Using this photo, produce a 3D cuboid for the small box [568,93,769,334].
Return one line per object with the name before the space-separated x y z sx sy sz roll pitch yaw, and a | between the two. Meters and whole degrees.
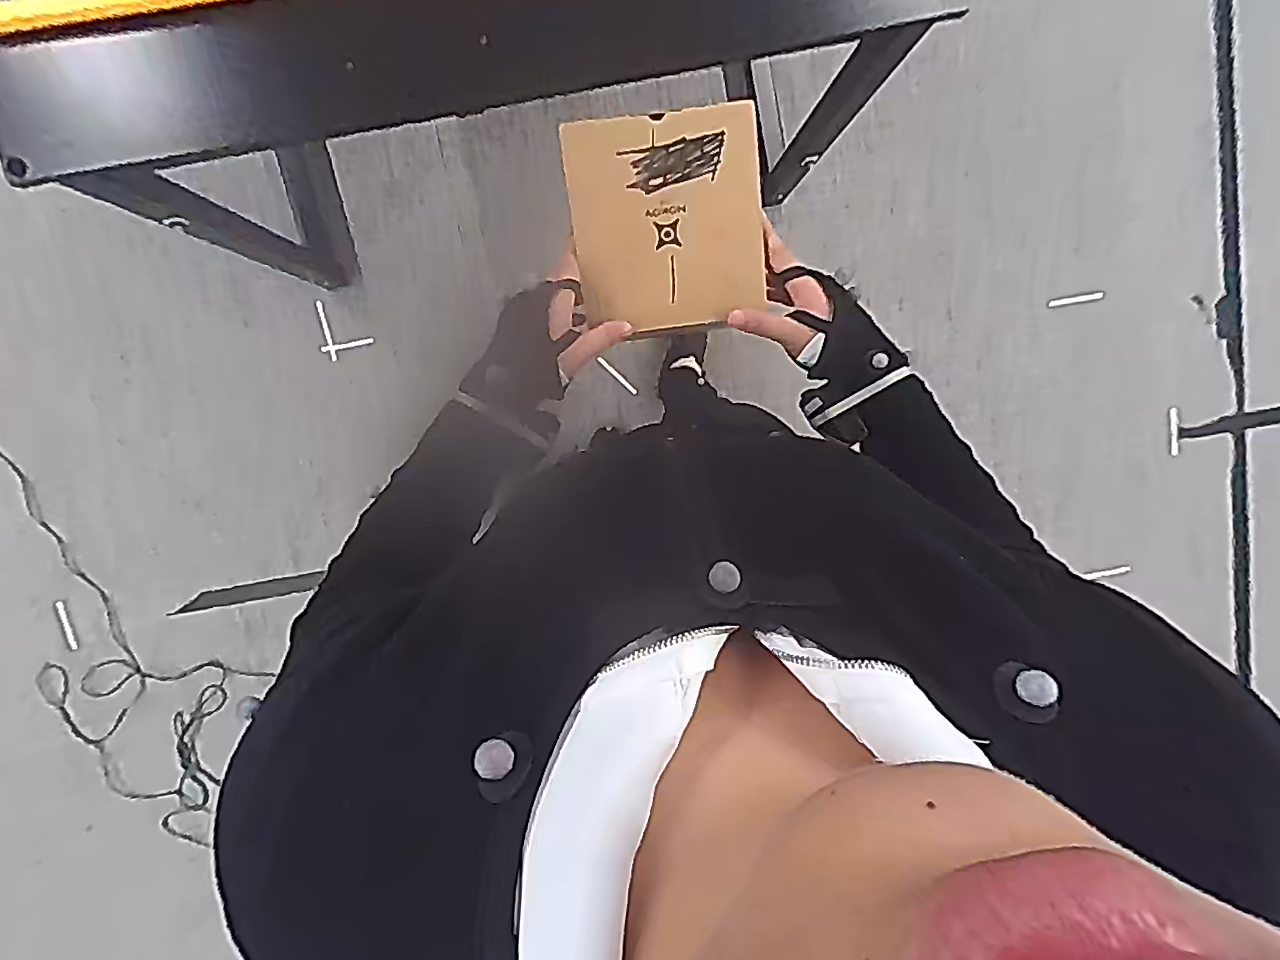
small box | 0.025 -0.250 0.549 0.168 0.176 0.179 -7 103 0
